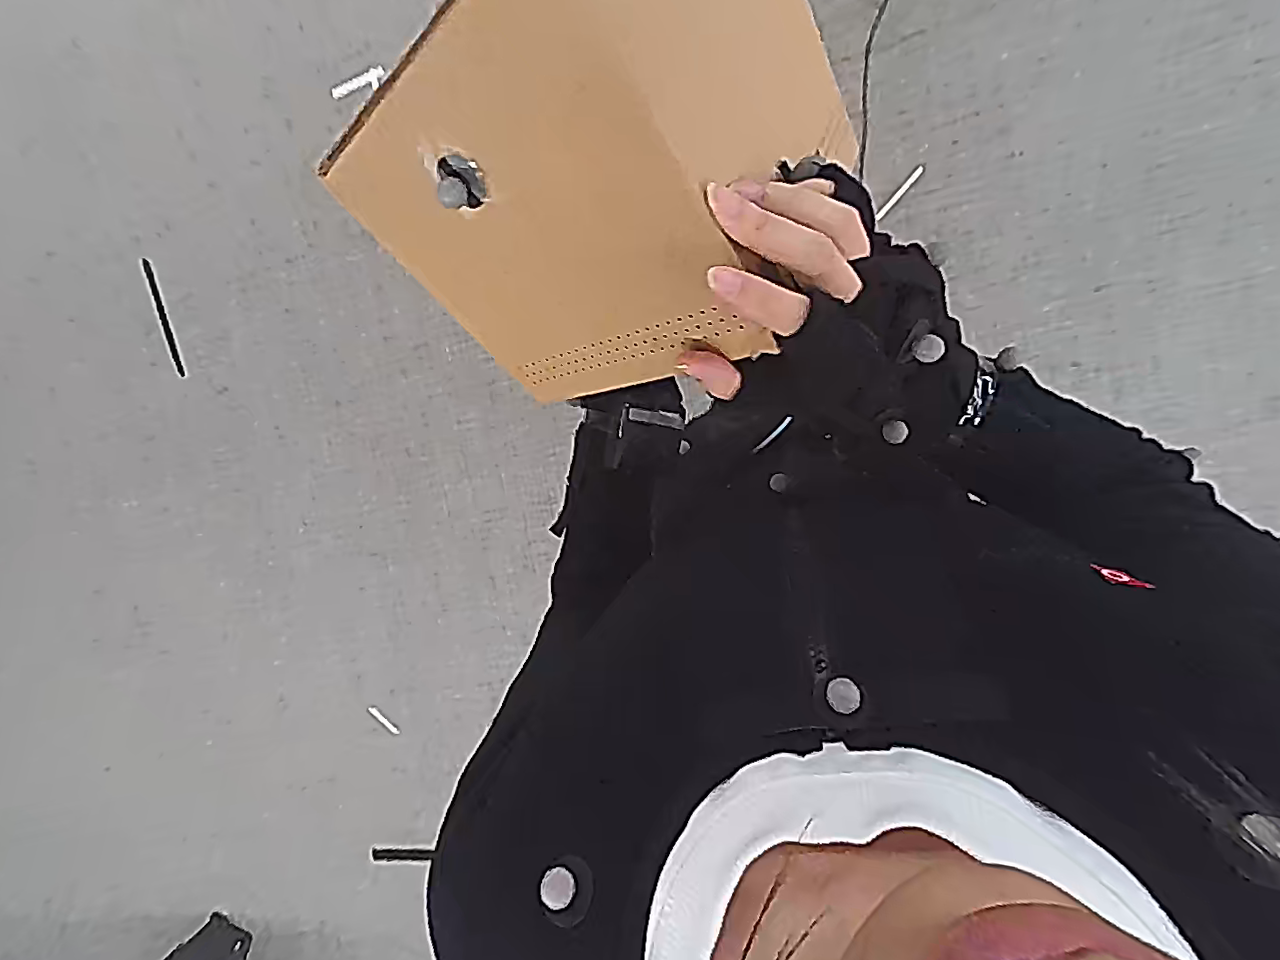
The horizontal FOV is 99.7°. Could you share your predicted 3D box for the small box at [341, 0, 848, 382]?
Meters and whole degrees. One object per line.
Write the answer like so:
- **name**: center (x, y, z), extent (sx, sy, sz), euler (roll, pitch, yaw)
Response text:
- **small box**: center (-0.014, -0.173, 0.297), extent (0.179, 0.168, 0.176), euler (-3, 143, 44)
